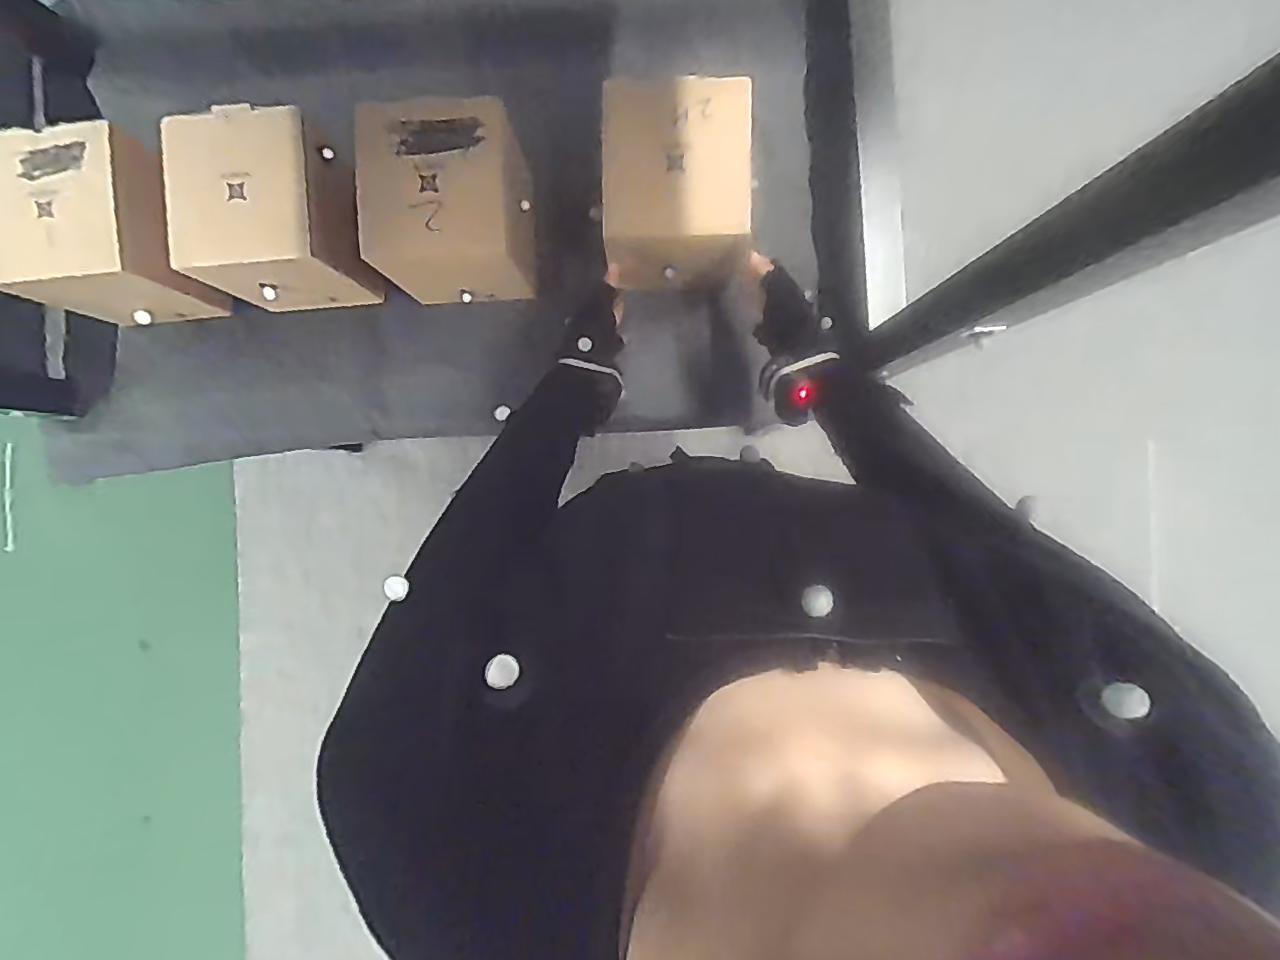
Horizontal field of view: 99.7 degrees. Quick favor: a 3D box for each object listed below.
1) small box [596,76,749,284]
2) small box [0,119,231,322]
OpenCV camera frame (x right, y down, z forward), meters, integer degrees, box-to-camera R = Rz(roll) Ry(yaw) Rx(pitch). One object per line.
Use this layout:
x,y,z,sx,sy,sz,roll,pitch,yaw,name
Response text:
0.038,-0.355,0.671,0.168,0.176,0.179,1,90,1,small box
-0.670,-0.318,0.695,0.168,0.176,0.179,-5,90,2,small box
